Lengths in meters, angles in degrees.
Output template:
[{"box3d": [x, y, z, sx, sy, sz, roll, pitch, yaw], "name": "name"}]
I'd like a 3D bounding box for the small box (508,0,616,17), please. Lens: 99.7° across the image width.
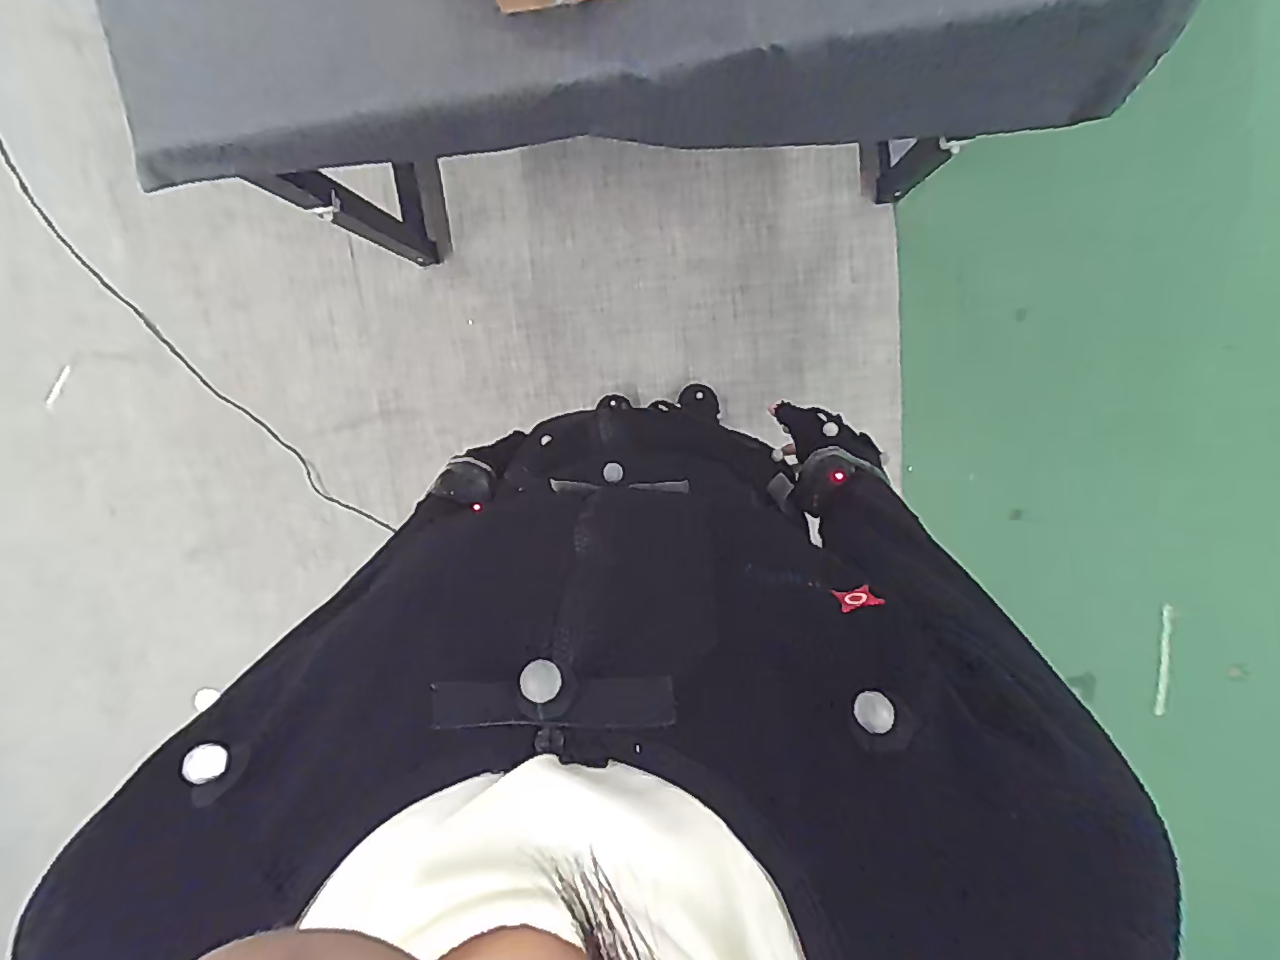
[{"box3d": [-0.086, -0.607, 0.518, 0.168, 0.176, 0.179, -7, 99, 6], "name": "small box"}]
